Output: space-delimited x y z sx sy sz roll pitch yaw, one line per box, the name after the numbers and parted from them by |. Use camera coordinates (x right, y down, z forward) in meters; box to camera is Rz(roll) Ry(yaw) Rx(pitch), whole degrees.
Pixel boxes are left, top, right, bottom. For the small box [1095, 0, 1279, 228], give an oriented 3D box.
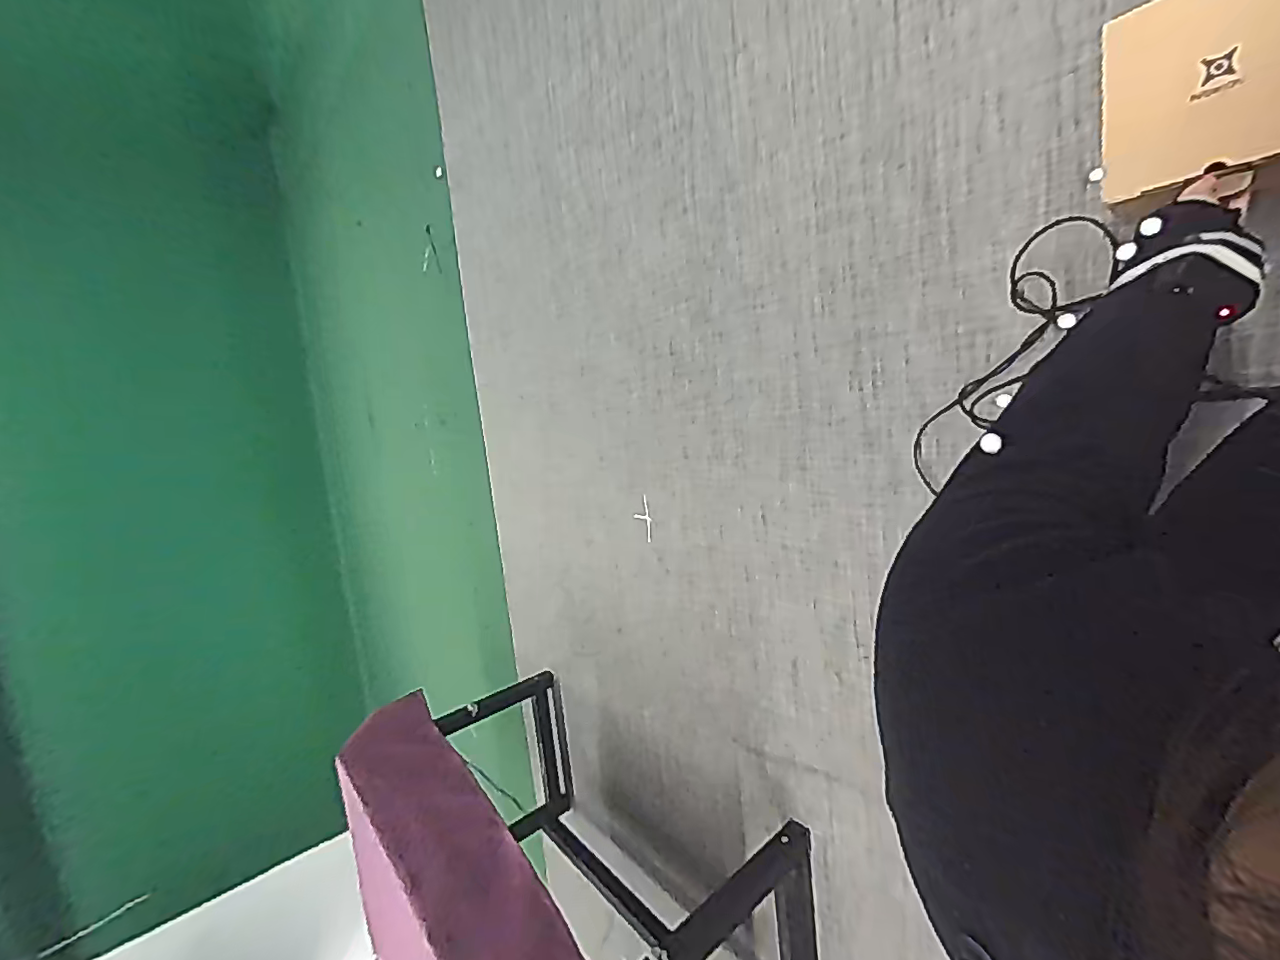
0.591 -0.382 0.553 0.168 0.176 0.179 3 102 50 | small box
